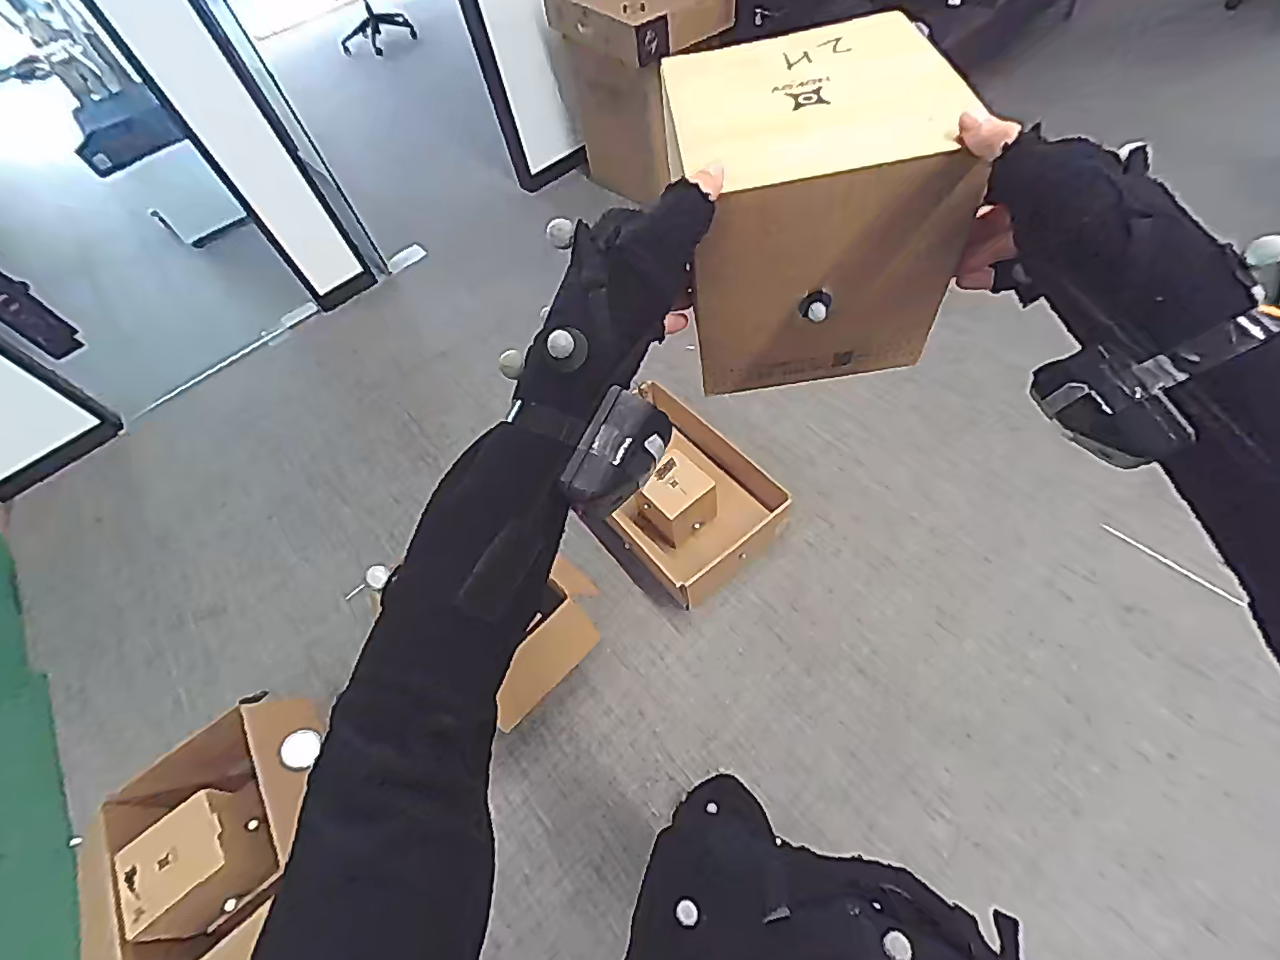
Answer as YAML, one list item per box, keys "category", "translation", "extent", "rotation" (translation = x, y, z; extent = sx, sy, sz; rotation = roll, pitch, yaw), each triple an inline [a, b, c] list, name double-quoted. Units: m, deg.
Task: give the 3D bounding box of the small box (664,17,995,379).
- category: "small box"
  translation: [0.114, -0.192, 0.400]
  extent: [0.168, 0.176, 0.179]
  rotation: [-8, 57, 5]

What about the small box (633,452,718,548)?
- category: "small box"
  translation: [0.103, 0.060, 1.531]
  extent: [0.168, 0.176, 0.179]
  rotation: [-37, 58, -16]
